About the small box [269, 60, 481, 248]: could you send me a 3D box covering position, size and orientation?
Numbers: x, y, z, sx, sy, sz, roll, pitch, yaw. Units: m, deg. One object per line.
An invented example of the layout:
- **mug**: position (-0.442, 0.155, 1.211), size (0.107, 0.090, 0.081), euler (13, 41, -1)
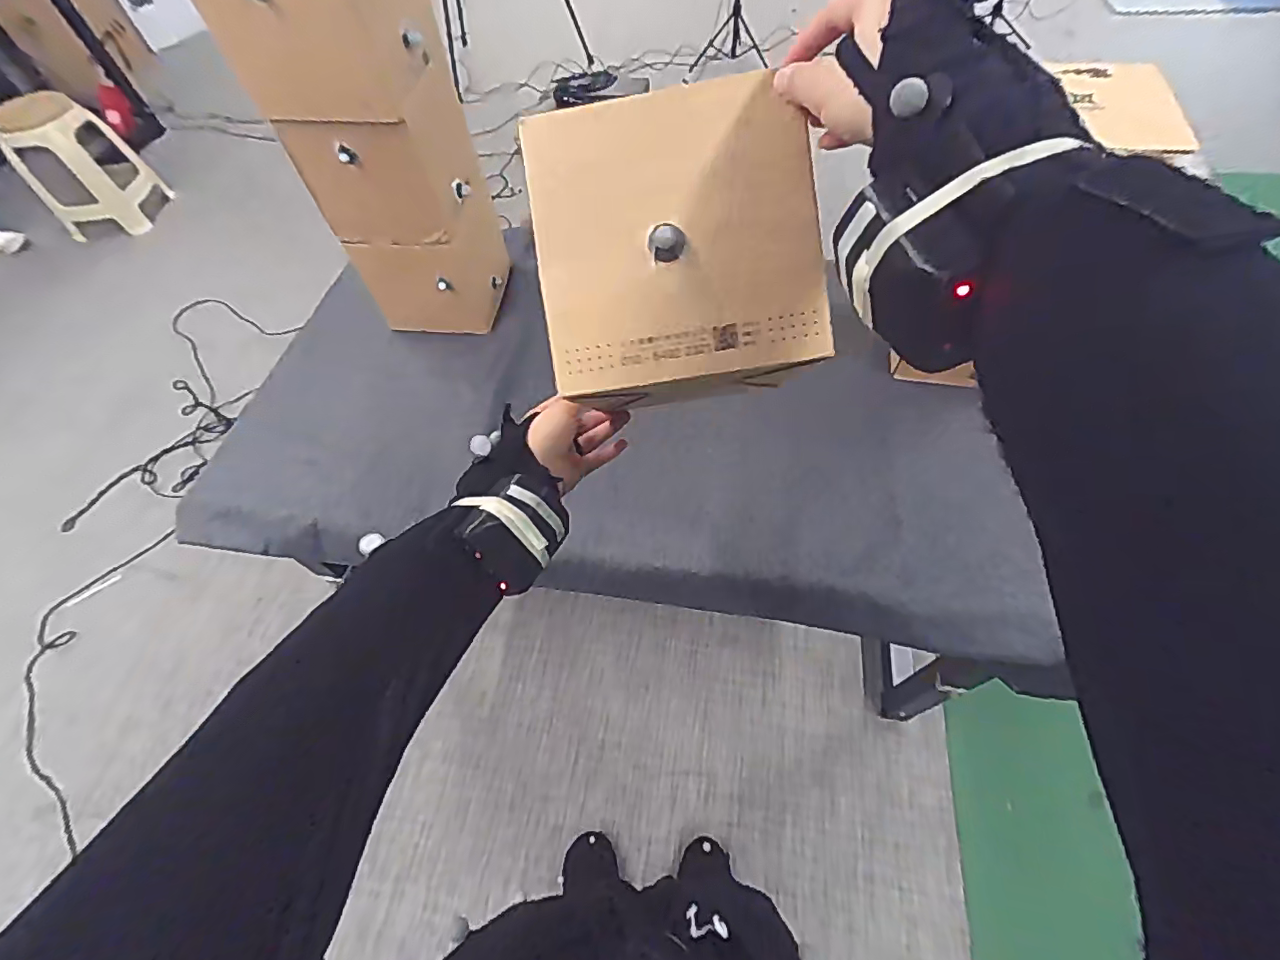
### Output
- **small box**: position (-0.340, -0.439, 0.735), size (0.179, 0.176, 0.168), euler (4, 60, 4)

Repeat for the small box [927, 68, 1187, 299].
- **small box**: position (0.444, -0.330, 0.615), size (0.168, 0.176, 0.179), euler (9, 61, 9)

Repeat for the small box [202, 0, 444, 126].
- **small box**: position (-0.346, -0.516, 0.590), size (0.179, 0.176, 0.168), euler (6, 60, 6)

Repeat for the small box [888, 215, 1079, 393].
- **small box**: position (0.459, -0.249, 0.756), size (0.168, 0.176, 0.179), euler (9, 60, 9)

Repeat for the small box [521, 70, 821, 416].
- **small box**: position (0.027, -0.144, 0.398), size (0.168, 0.179, 0.176), euler (-6, 92, 6)
